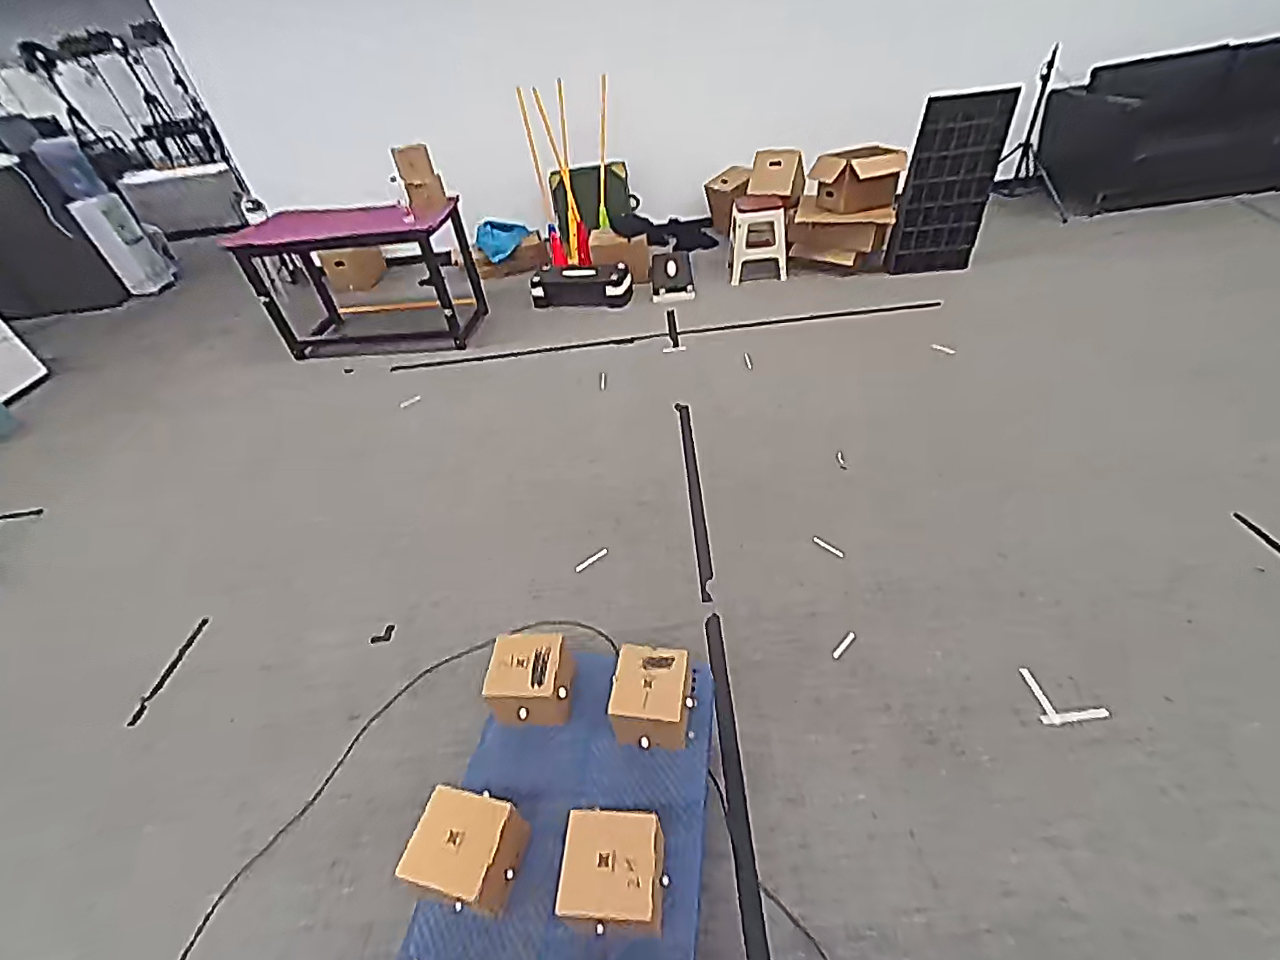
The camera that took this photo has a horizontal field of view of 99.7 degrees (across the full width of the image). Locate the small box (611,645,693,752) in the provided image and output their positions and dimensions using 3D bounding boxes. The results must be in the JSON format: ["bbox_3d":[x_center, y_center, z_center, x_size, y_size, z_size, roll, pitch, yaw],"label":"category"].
[{"bbox_3d":[0.036,0.526,1.305,0.168,0.176,0.179,2,44,12],"label":"small box"}]

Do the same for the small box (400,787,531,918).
[{"bbox_3d":[-0.346,0.764,1.107,0.179,0.176,0.168,6,43,13],"label":"small box"}]

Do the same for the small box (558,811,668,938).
[{"bbox_3d":[-0.043,0.768,1.051,0.179,0.176,0.168,-2,42,8],"label":"small box"}]
